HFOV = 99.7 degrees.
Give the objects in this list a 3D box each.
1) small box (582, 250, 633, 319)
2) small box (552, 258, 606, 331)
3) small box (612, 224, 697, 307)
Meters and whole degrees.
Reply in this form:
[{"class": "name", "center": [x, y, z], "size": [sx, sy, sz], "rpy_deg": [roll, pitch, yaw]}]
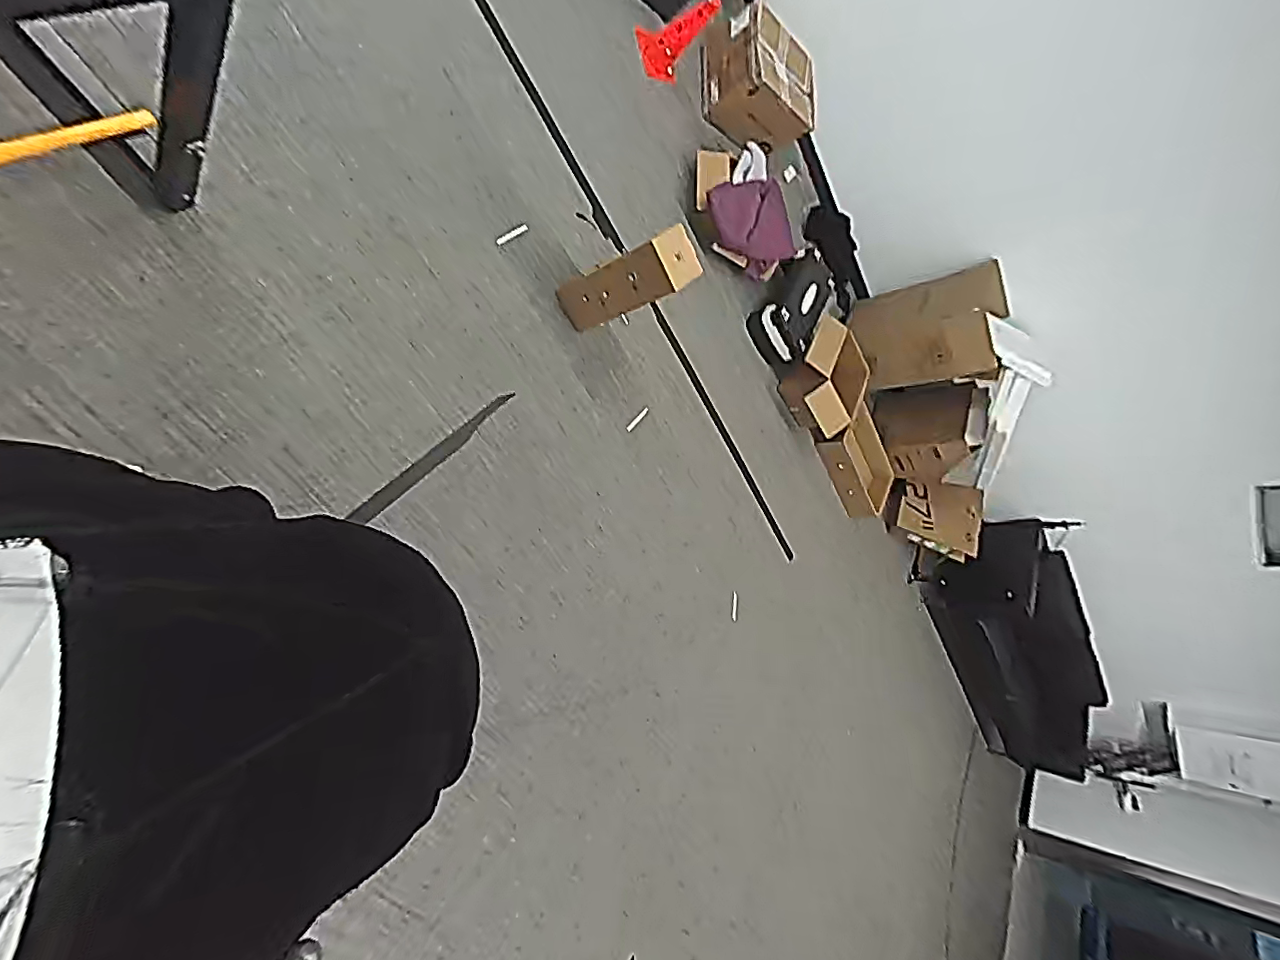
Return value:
[{"class": "small box", "center": [-0.064, -0.674, 1.834], "size": [0.179, 0.176, 0.168], "rpy_deg": [-47, 118, -36]}, {"class": "small box", "center": [-0.185, -0.665, 1.946], "size": [0.168, 0.176, 0.179], "rpy_deg": [-47, 118, -36]}, {"class": "small box", "center": [0.043, -0.675, 1.711], "size": [0.179, 0.176, 0.168], "rpy_deg": [-47, 117, -36]}]
